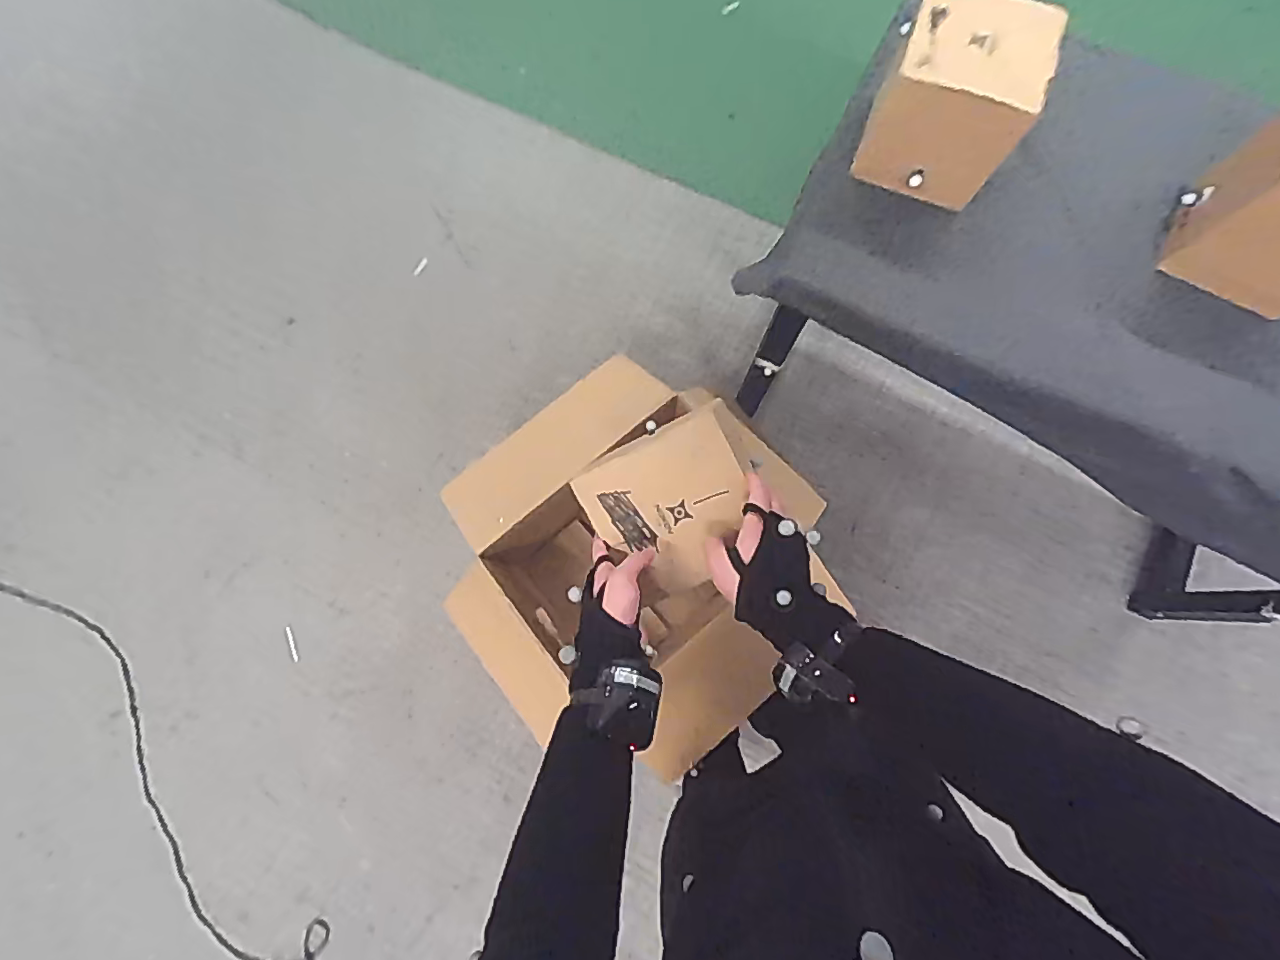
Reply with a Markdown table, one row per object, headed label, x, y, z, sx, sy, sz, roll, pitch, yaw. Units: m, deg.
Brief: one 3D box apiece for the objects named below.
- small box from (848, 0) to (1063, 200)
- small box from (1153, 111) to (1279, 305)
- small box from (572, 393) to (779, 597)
| label | x | y | z | sx | sy | sz | roll | pitch | yaw |
| --- | --- | --- | --- | --- | --- | --- | --- | --- | --- |
| small box | 0.420 | -0.525 | 0.745 | 0.179 | 0.176 | 0.168 | 21 | 78 | 4 |
| small box | 0.849 | -0.359 | 0.706 | 0.179 | 0.176 | 0.168 | 28 | 78 | 8 |
| small box | 0.051 | 0.008 | 0.645 | 0.179 | 0.176 | 0.168 | -25 | 97 | 15 |
